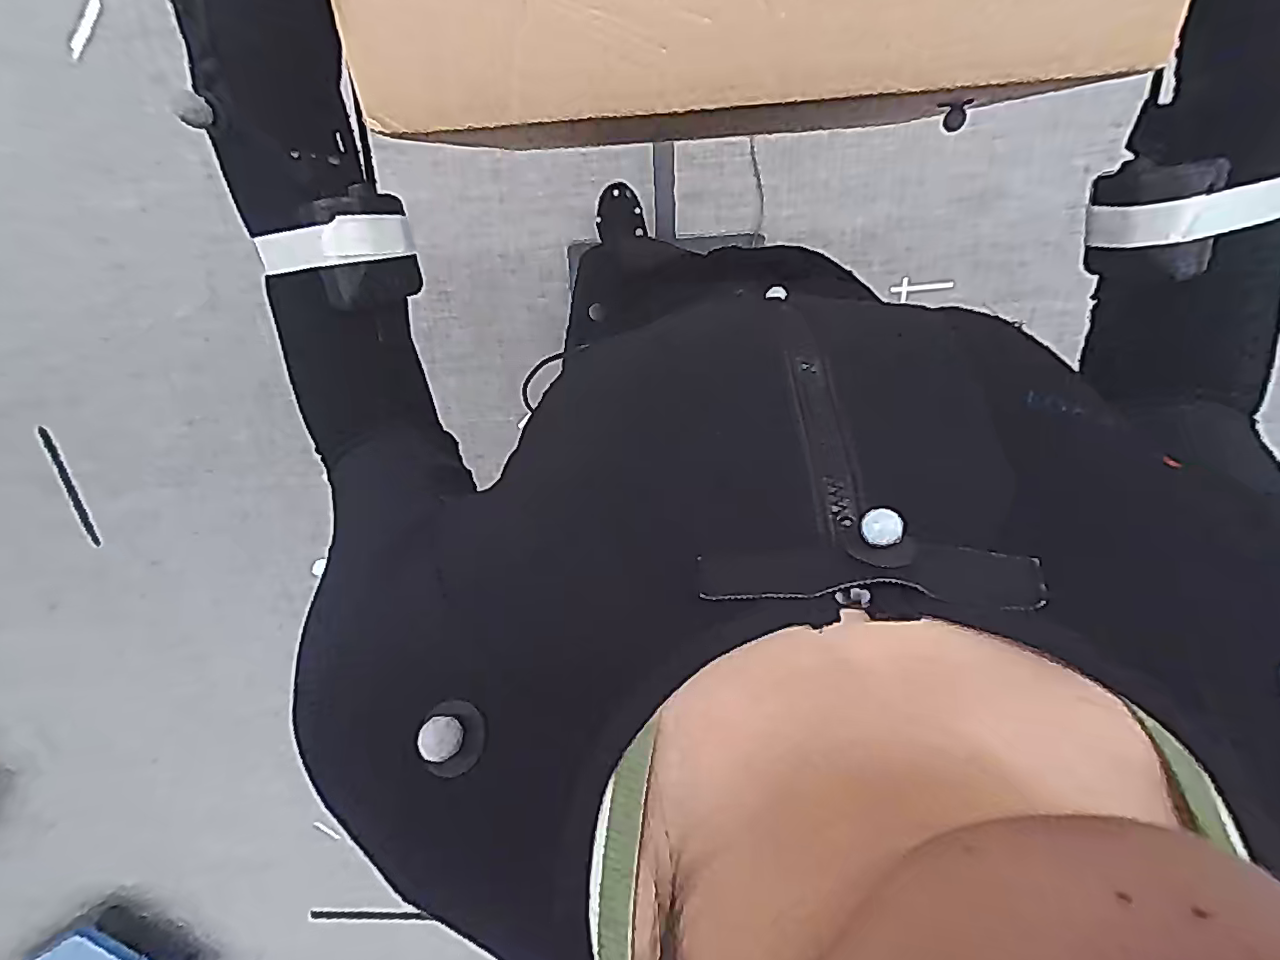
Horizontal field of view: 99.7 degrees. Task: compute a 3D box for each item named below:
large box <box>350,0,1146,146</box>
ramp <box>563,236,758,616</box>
[{"bbox_3d":[0.048,-0.410,0.342,0.408,0.320,0.320,-3,119,3],"label":"large box"},{"bbox_3d":[0.066,-0.110,1.450,0.509,0.206,0.991,-3,110,4],"label":"ramp"}]
